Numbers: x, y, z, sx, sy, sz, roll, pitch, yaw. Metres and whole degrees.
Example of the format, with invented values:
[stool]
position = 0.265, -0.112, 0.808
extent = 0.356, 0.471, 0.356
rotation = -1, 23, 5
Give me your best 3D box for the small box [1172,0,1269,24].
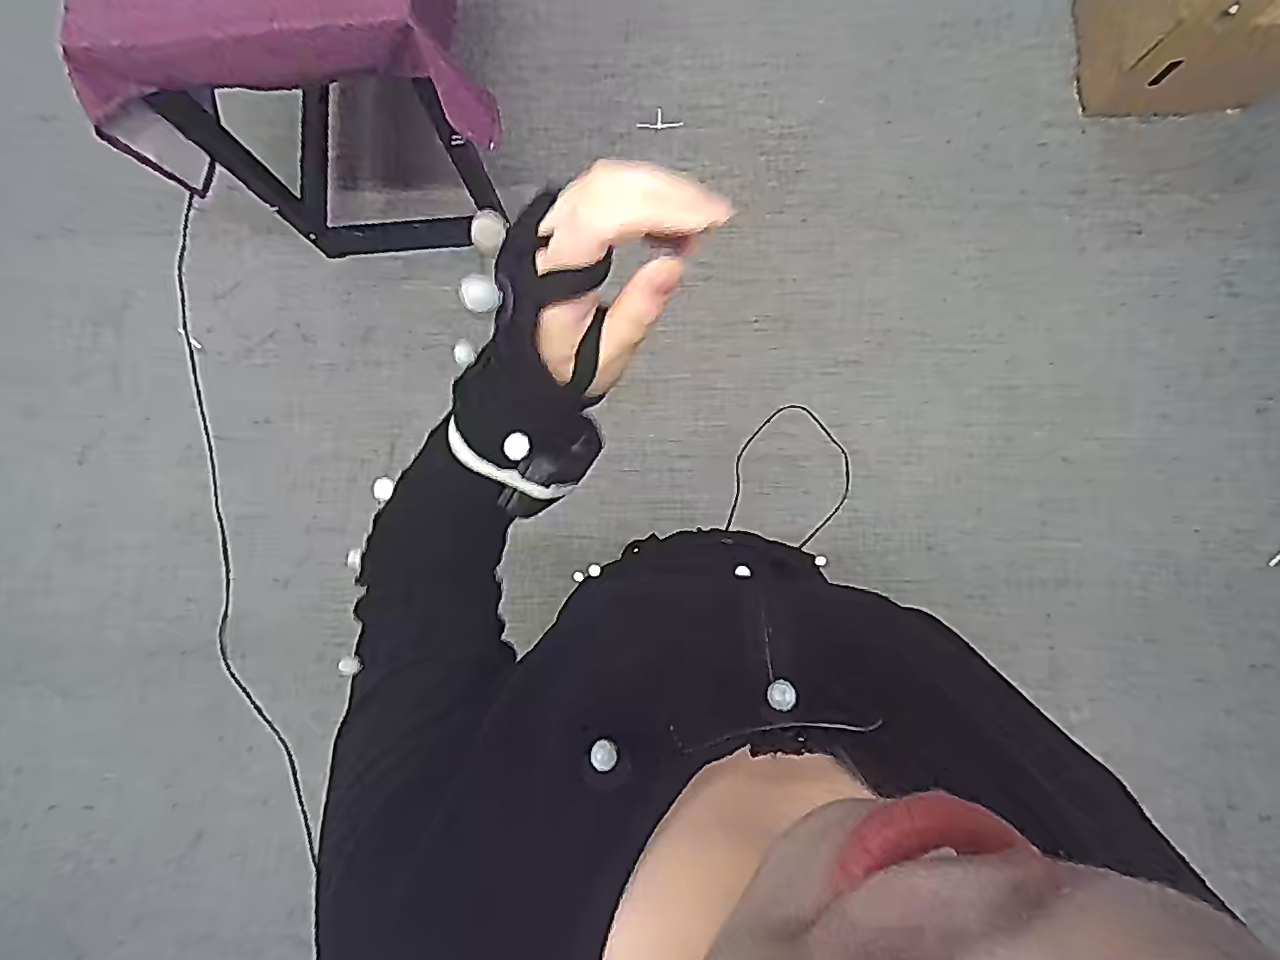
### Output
[small box]
position = 1.390, -1.199, 1.245
extent = 0.179, 0.176, 0.168
rotation = 1, 84, 0
